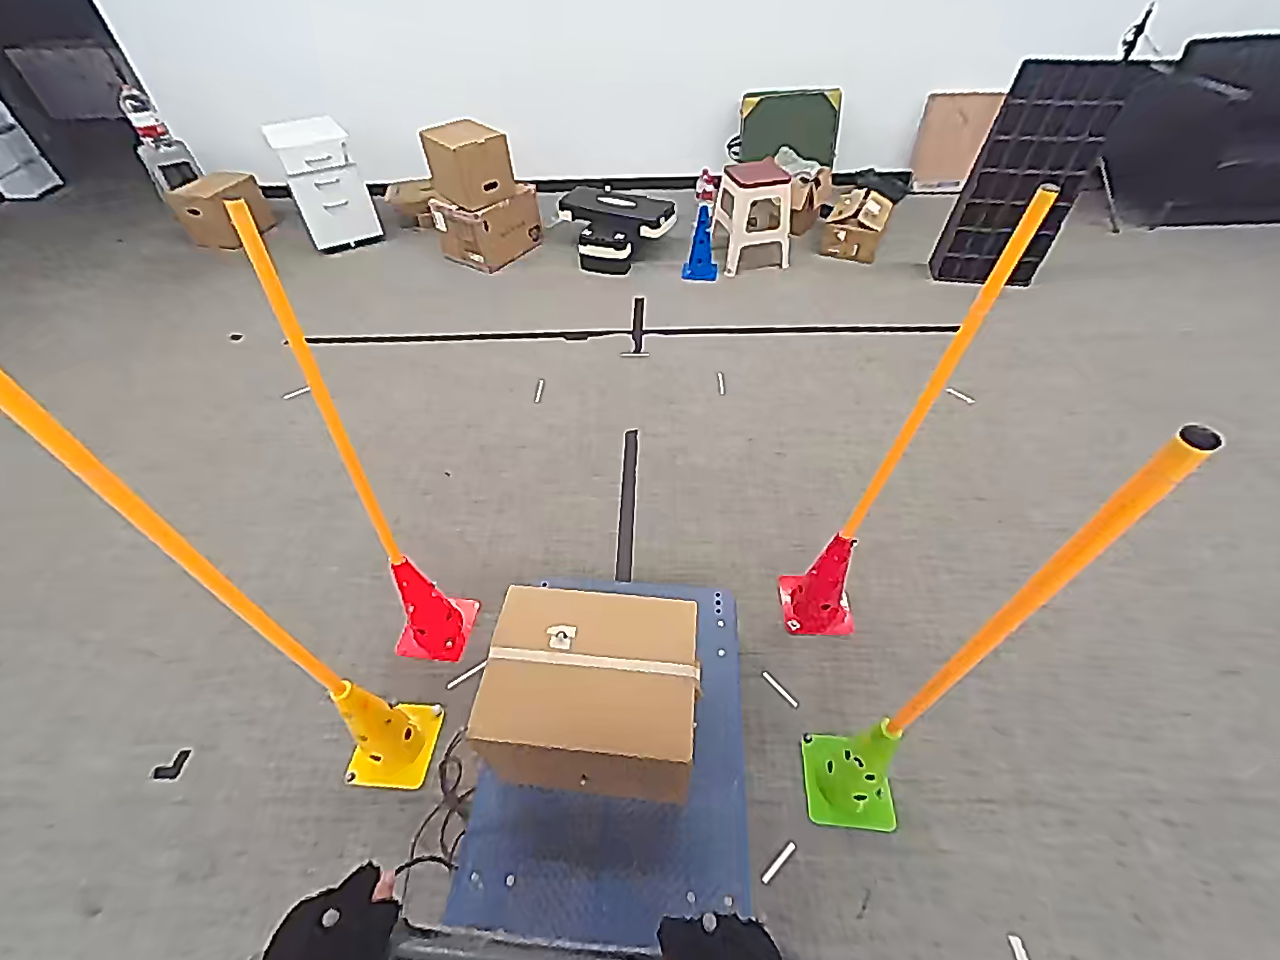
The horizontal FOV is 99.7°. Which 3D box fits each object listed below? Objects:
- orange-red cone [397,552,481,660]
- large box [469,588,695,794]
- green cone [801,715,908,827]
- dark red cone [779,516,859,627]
[{"bbox_3d":[-0.599,0.318,1.500,0.198,0.360,0.199,6,46,6],"label":"orange-red cone"},{"bbox_3d":[-0.090,0.453,1.159,0.408,0.320,0.320,4,48,6],"label":"large box"},{"bbox_3d":[0.501,0.607,1.192,0.202,0.368,0.200,4,47,4],"label":"green cone"},{"bbox_3d":[0.532,0.239,1.507,0.201,0.394,0.202,1,48,1],"label":"dark red cone"}]
